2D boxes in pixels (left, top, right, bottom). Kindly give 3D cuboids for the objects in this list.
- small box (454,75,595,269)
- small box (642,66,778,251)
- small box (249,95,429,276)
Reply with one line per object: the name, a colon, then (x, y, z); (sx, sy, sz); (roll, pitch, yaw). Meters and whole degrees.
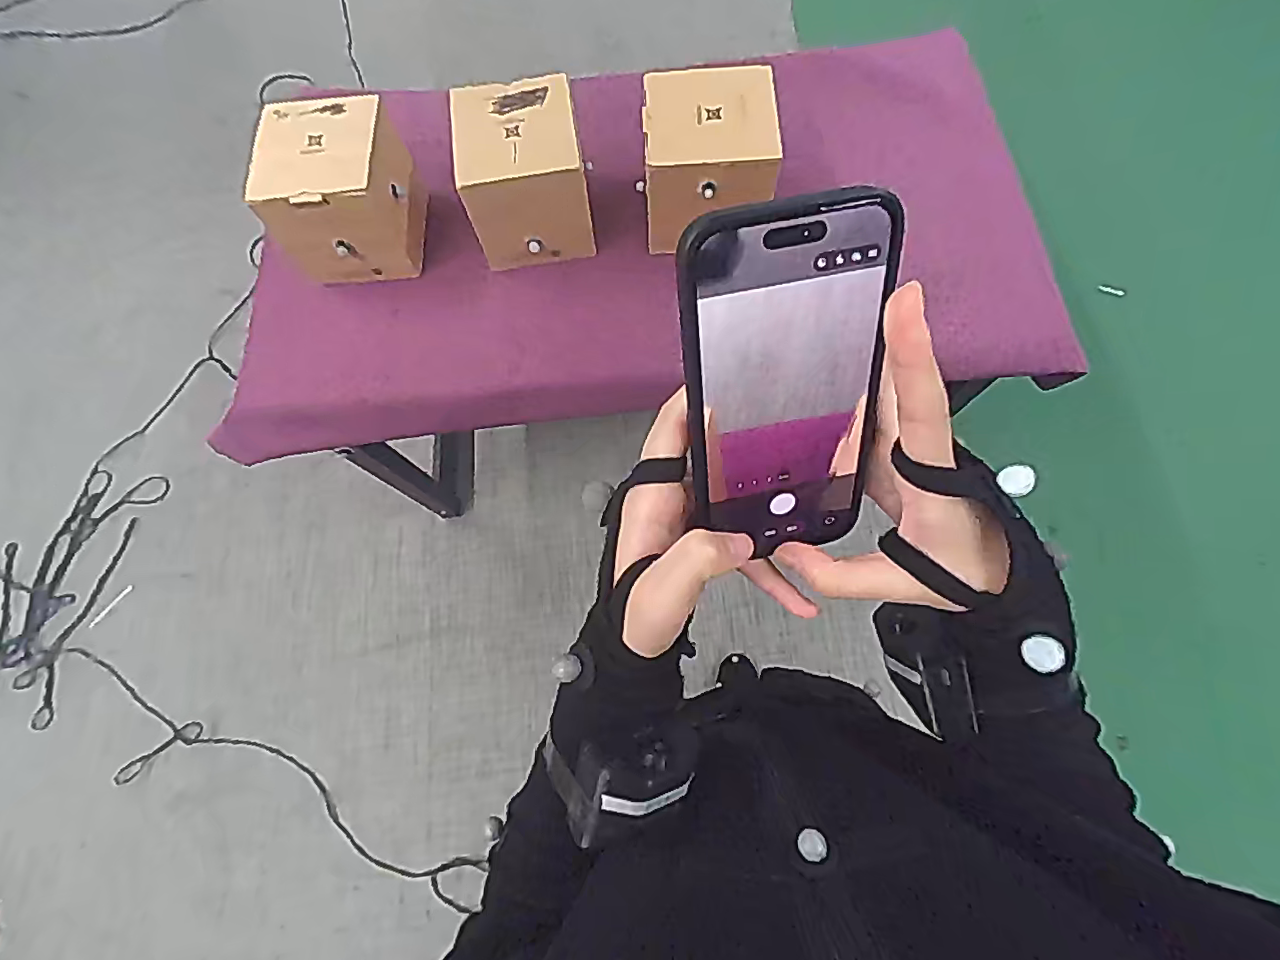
small box: (-0.165, -0.446, 0.799); (0.168, 0.176, 0.179); (-9, 72, 1)
small box: (0.095, -0.457, 0.789); (0.179, 0.176, 0.168); (-1, 72, 3)
small box: (-0.432, -0.424, 0.806); (0.168, 0.176, 0.179); (-4, 72, 2)
